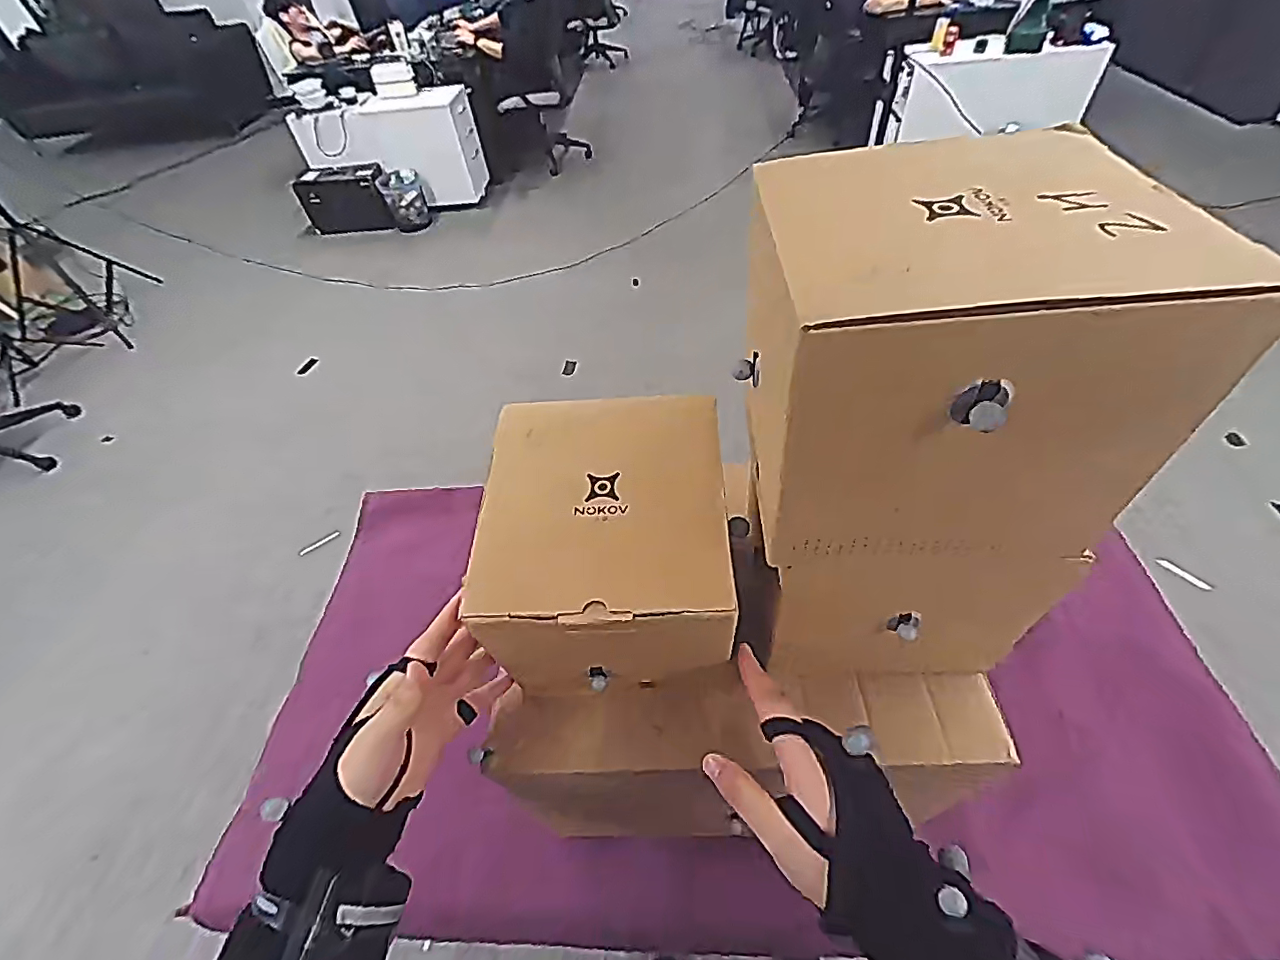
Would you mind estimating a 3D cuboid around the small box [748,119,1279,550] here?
[{"bbox_3d":[0.154,-0.073,0.302,0.179,0.176,0.168,-3,49,6],"label":"small box"}]
